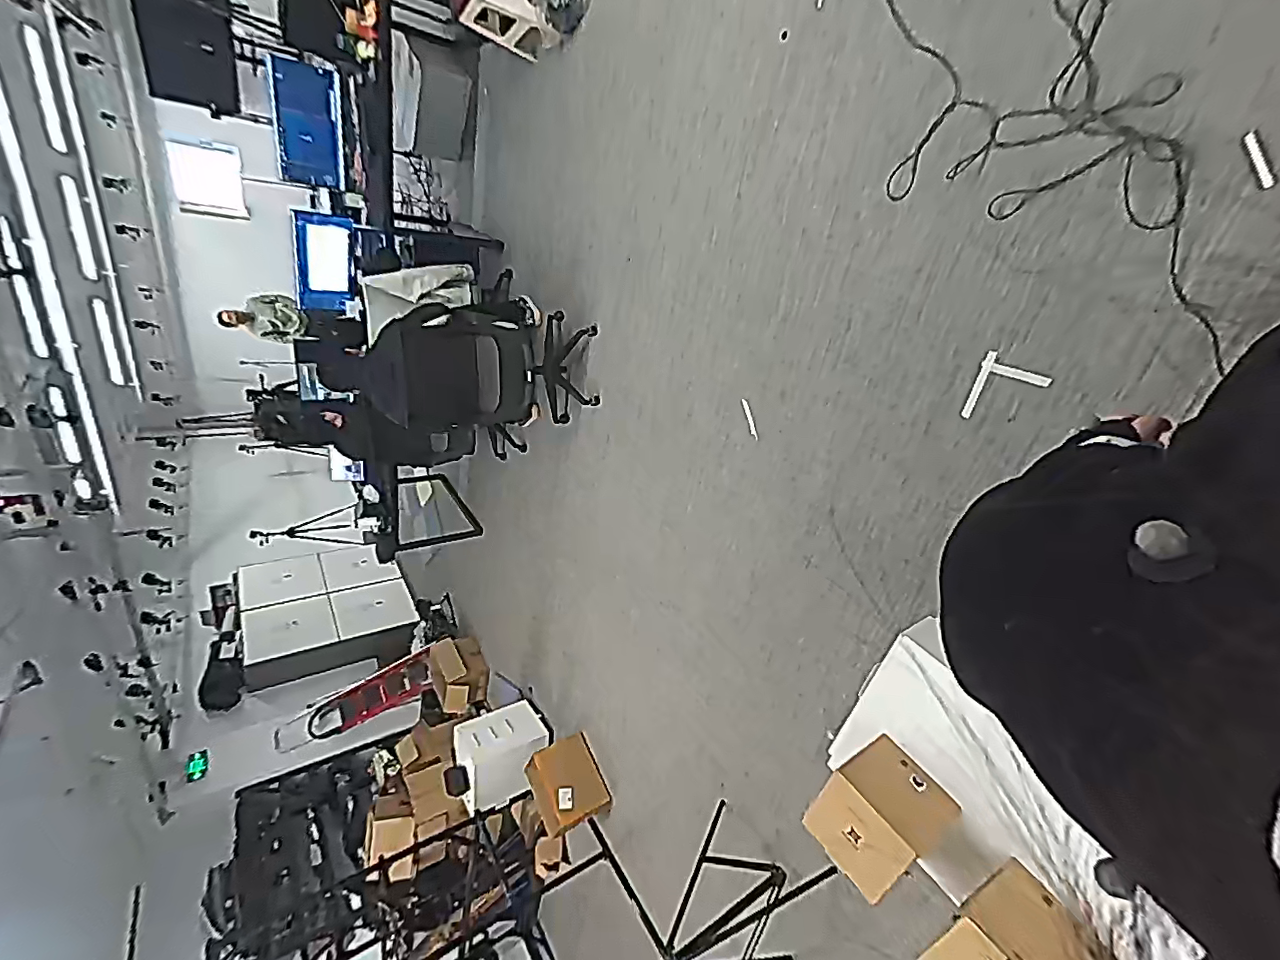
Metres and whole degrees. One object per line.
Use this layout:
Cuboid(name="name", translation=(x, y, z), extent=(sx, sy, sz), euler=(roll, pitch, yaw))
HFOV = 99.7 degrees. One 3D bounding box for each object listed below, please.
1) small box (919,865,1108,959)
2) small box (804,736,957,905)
Cuboid(name="small box", translation=(0.578, 0.747, 0.831), extent=(0.168, 0.176, 0.179), euler=(44, 131, 41))
Cuboid(name="small box", translation=(0.443, 0.617, 0.998), extent=(0.168, 0.176, 0.179), euler=(41, 127, 41))
